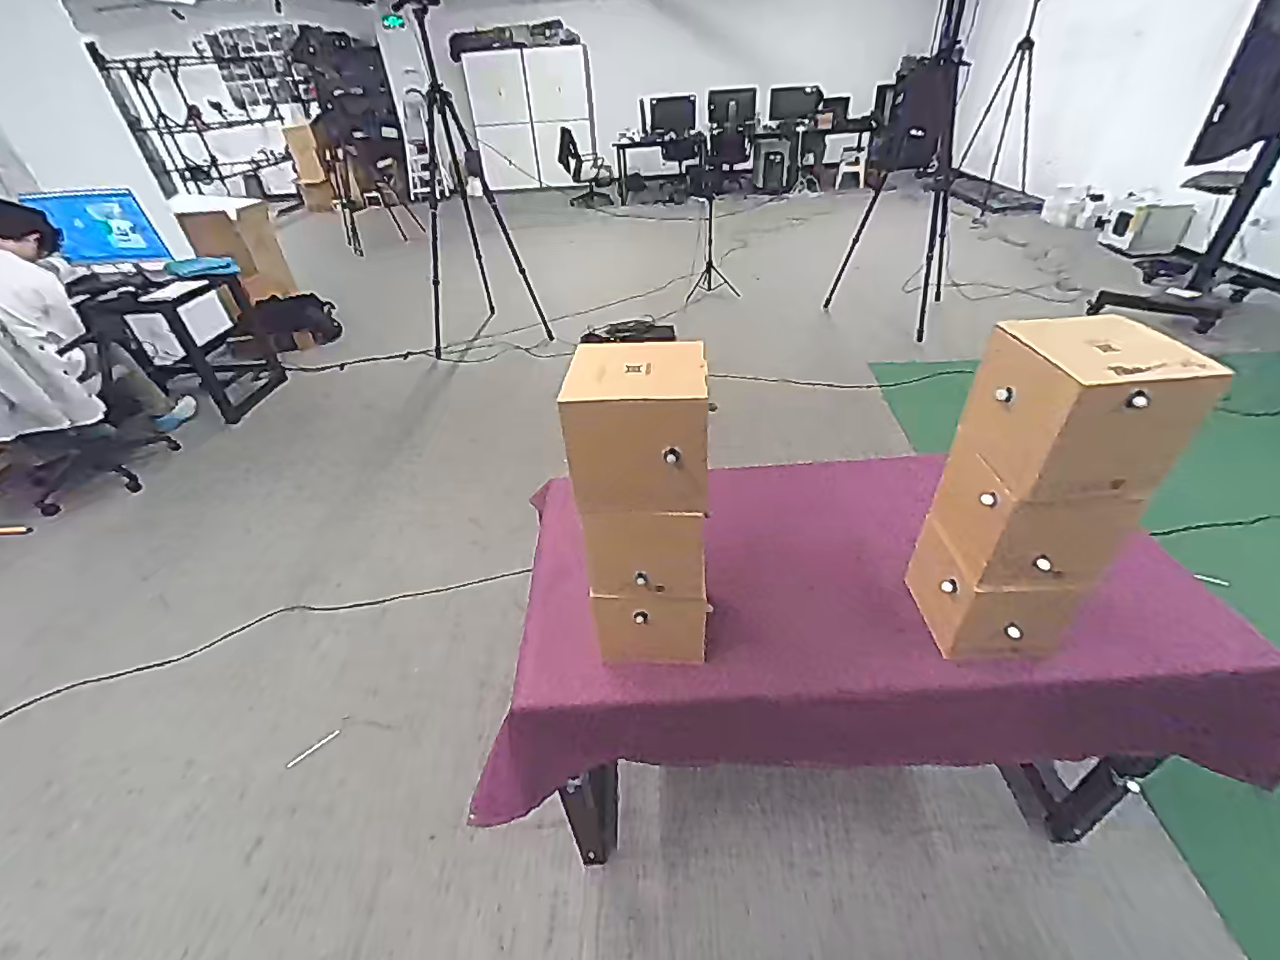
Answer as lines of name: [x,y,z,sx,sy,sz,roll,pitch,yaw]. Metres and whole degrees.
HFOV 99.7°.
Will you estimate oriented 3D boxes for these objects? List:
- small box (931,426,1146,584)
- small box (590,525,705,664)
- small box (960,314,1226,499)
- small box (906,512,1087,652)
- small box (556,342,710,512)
small box: [0.560,0.032,0.795,0.168,0.176,0.179,-3,38,3]
small box: [0.019,0.193,0.912,0.179,0.176,0.168,-1,37,4]
small box: [0.549,-0.096,0.693,0.168,0.176,0.179,-5,37,0]
small box: [0.565,0.167,0.888,0.168,0.176,0.179,-3,37,2]
small box: [0.000,-0.069,0.717,0.179,0.176,0.168,-1,37,5]
